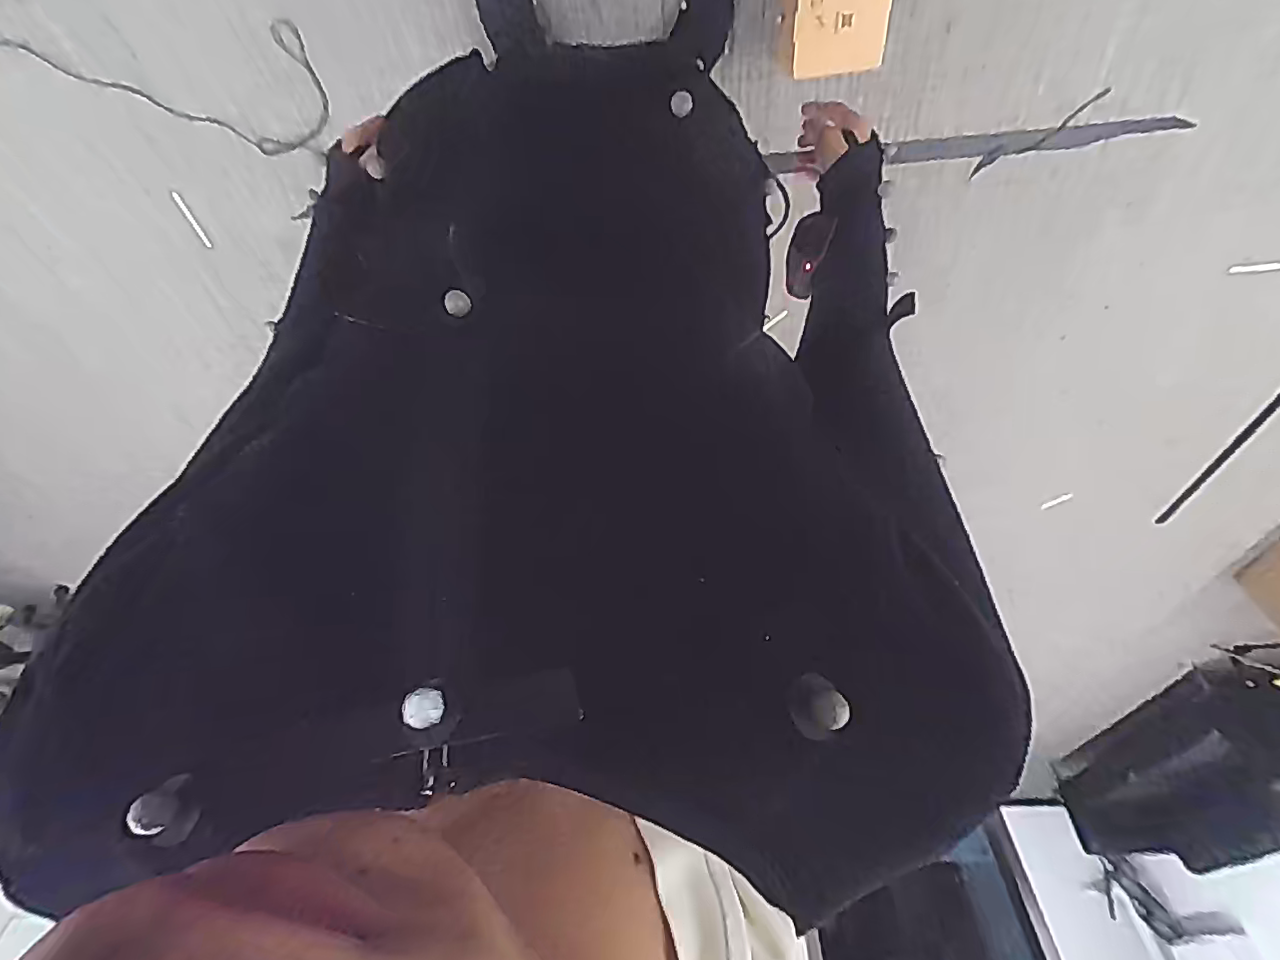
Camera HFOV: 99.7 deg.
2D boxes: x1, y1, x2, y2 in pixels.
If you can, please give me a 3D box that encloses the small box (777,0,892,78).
[{"bbox_3d":[0.377,-0.917,1.060,0.179,0.176,0.168,-4,137,5],"label":"small box"}]
